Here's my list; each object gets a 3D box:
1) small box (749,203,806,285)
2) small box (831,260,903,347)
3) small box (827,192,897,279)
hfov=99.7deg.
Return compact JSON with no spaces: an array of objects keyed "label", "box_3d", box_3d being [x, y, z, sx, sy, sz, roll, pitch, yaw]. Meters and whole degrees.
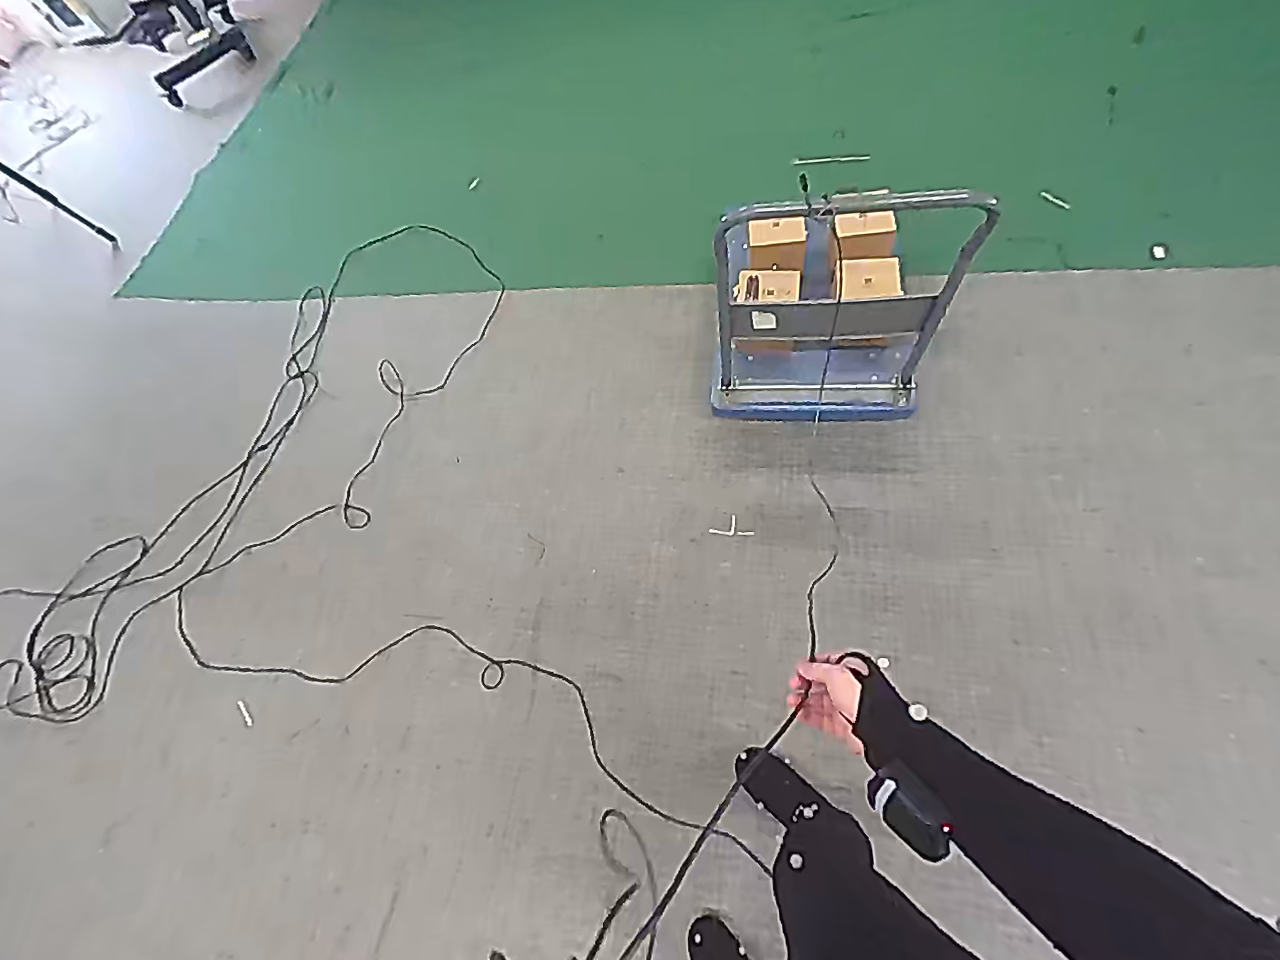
[{"label":"small box","box_3d":[0.433,-0.742,1.721,0.168,0.176,0.179,-2,64,10]},{"label":"small box","box_3d":[0.649,-0.507,1.564,0.168,0.176,0.179,2,66,13]},{"label":"small box","box_3d":[0.680,-0.752,1.675,0.168,0.176,0.179,-2,65,11]}]
